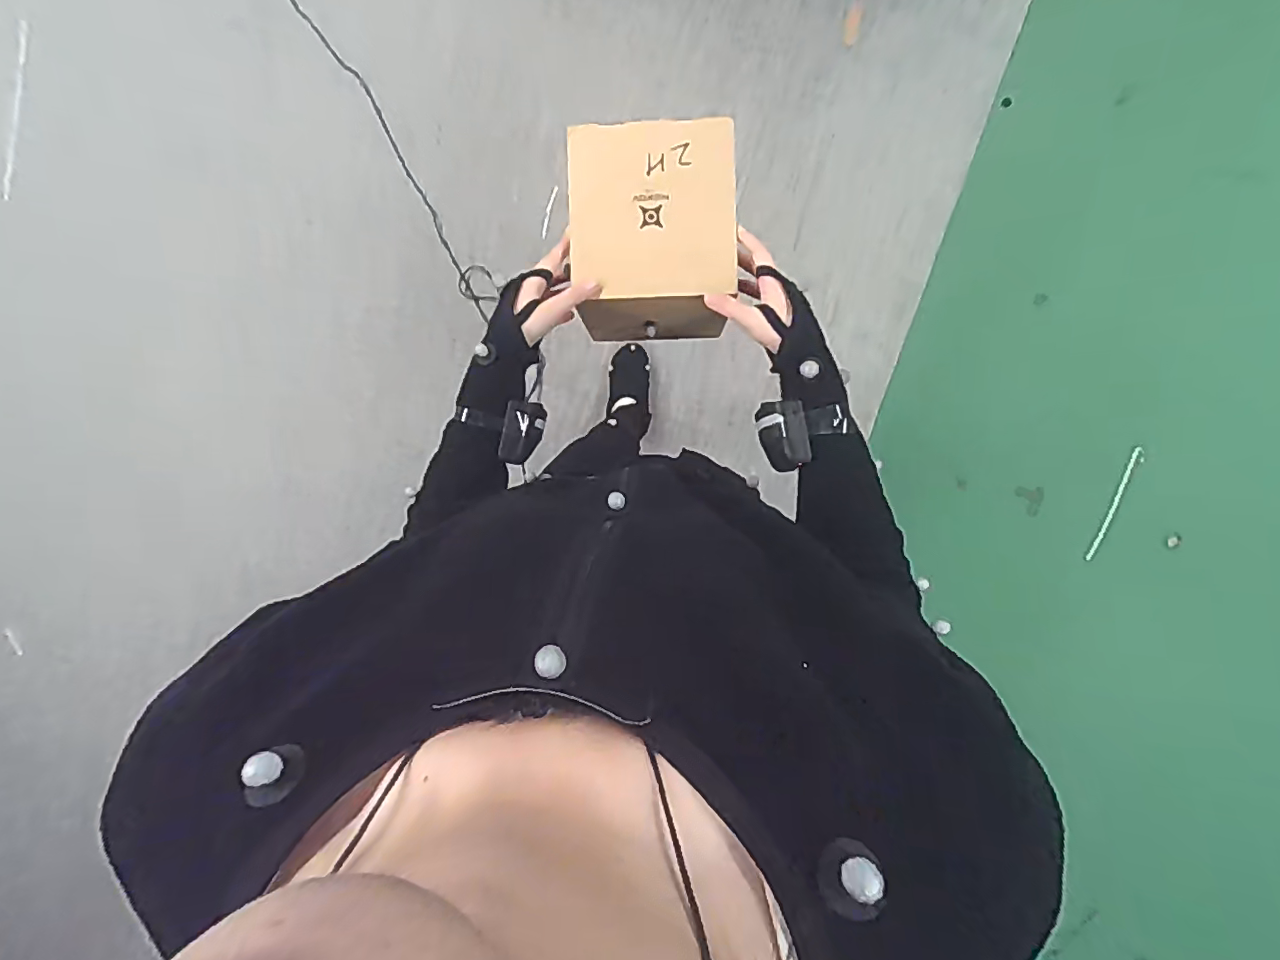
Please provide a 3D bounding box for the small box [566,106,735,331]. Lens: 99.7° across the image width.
[{"bbox_3d":[0.014,-0.268,0.598,0.168,0.176,0.179,-1,89,2],"label":"small box"}]
